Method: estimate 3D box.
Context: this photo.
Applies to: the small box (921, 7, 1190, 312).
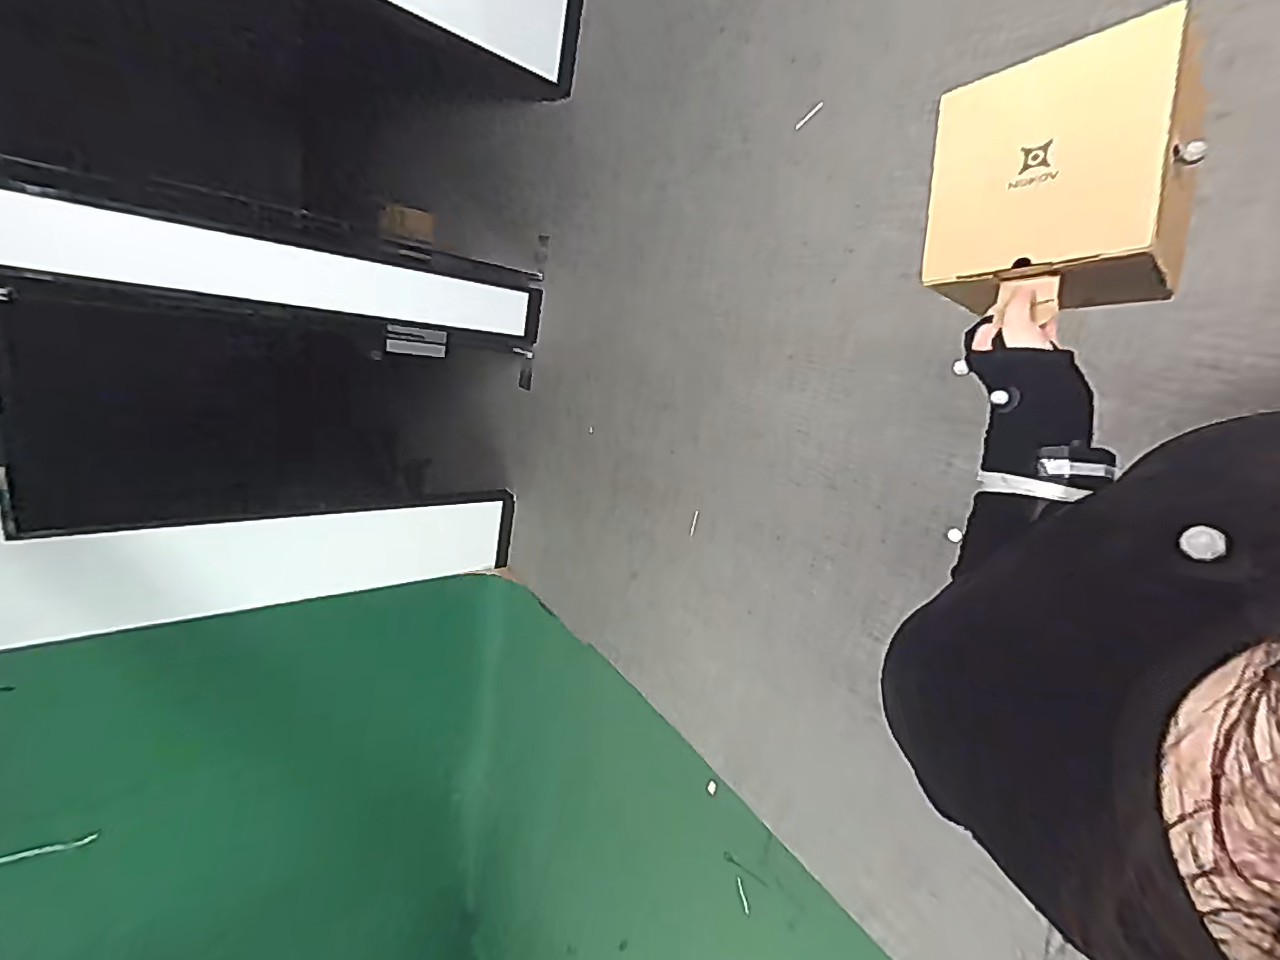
[{"bbox_3d":[0.392,-0.271,0.511,0.168,0.176,0.179,9,99,47],"label":"small box"}]
